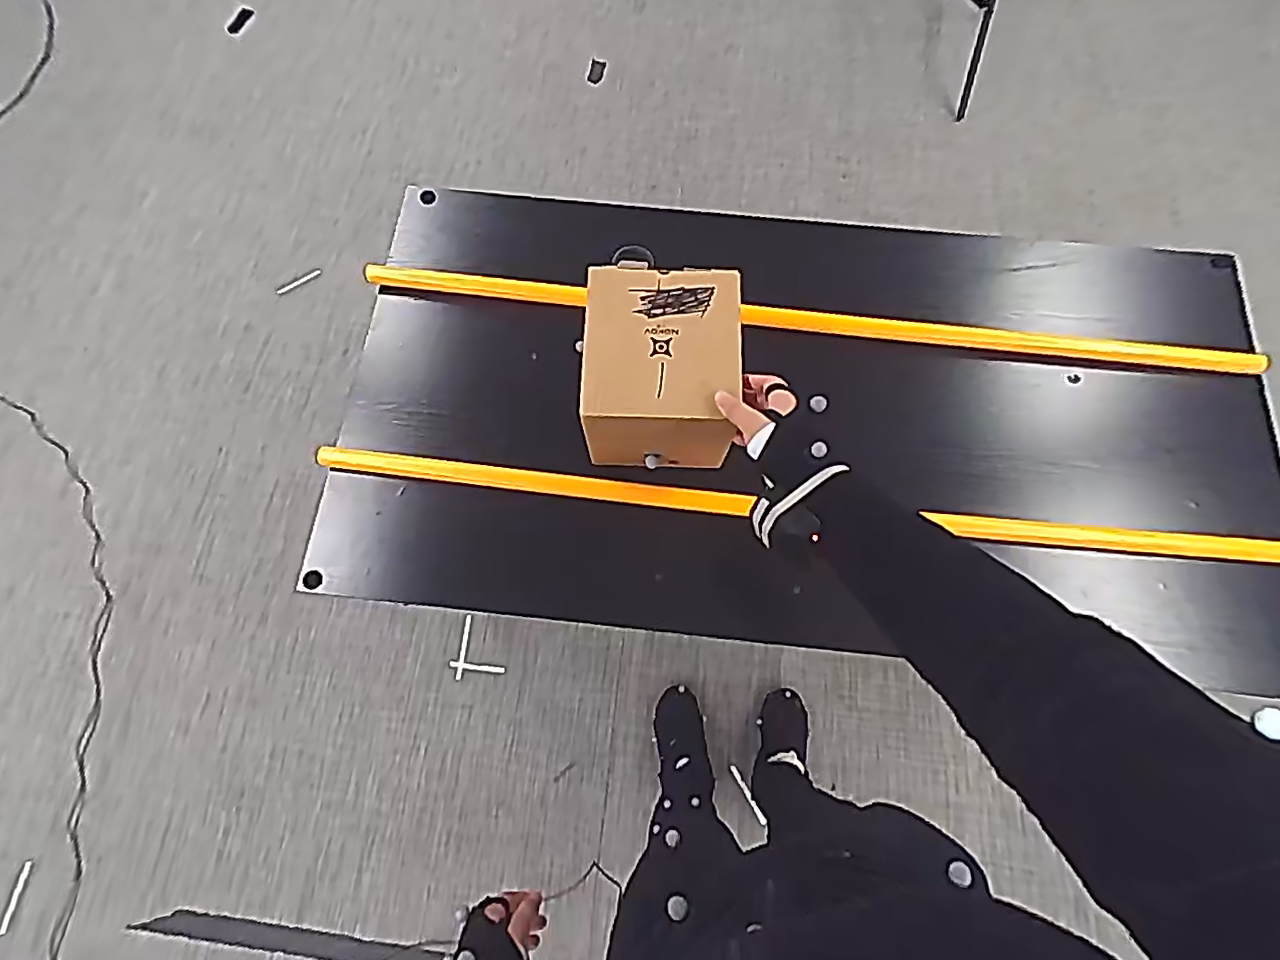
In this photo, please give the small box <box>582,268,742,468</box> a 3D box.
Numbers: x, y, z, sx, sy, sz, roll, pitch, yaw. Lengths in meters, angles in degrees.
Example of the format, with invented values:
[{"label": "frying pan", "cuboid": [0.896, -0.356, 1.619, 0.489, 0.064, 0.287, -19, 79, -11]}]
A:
[{"label": "small box", "cuboid": [0.025, -0.124, 0.646, 0.168, 0.176, 0.179, 2, 75, 1]}]
